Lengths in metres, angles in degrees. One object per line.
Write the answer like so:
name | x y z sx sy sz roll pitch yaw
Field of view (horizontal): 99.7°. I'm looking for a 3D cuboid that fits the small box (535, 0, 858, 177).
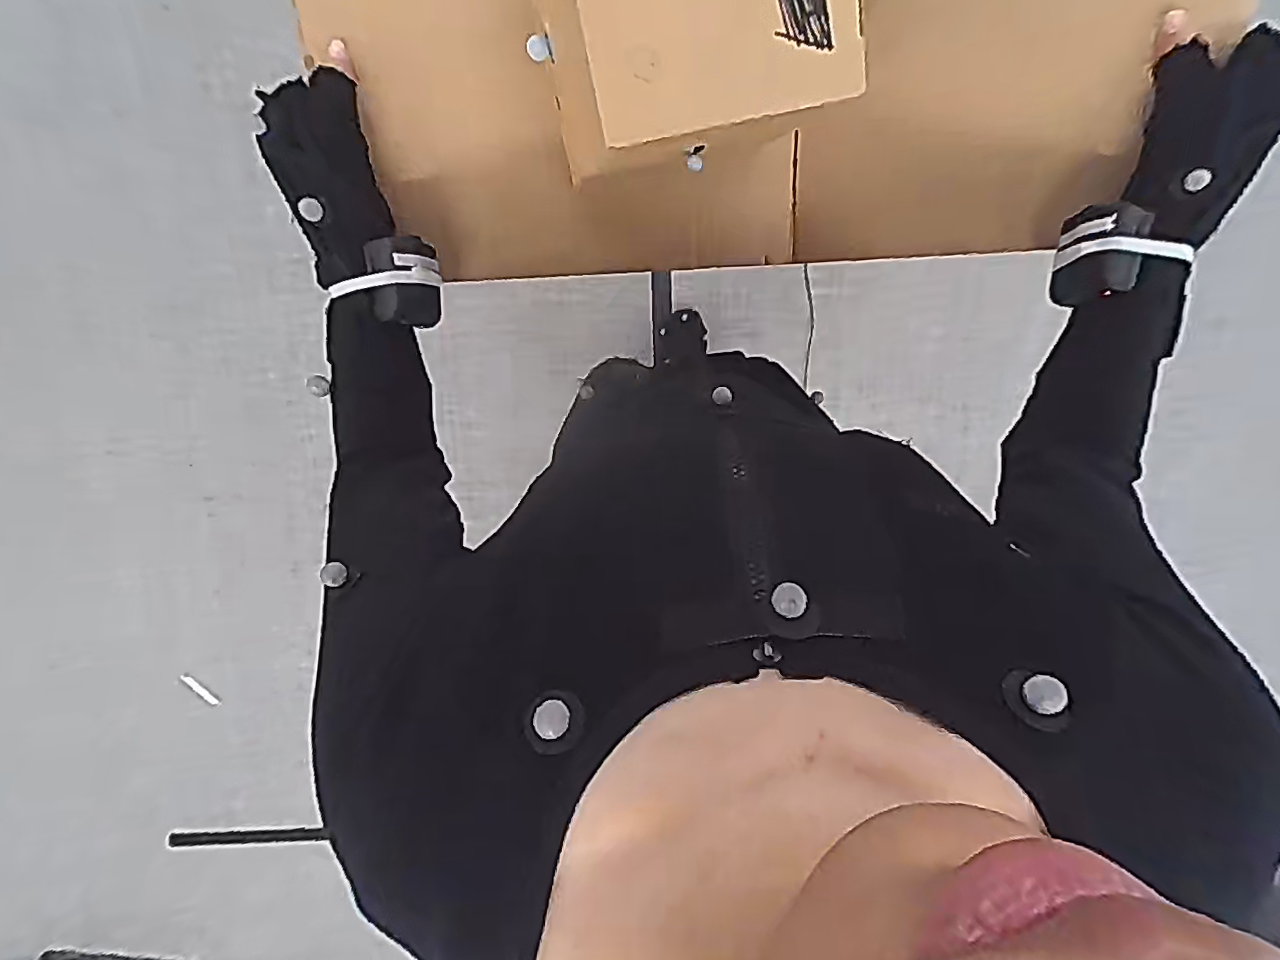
small box | 0.027 -0.333 0.385 0.179 0.176 0.168 -16 113 -7
